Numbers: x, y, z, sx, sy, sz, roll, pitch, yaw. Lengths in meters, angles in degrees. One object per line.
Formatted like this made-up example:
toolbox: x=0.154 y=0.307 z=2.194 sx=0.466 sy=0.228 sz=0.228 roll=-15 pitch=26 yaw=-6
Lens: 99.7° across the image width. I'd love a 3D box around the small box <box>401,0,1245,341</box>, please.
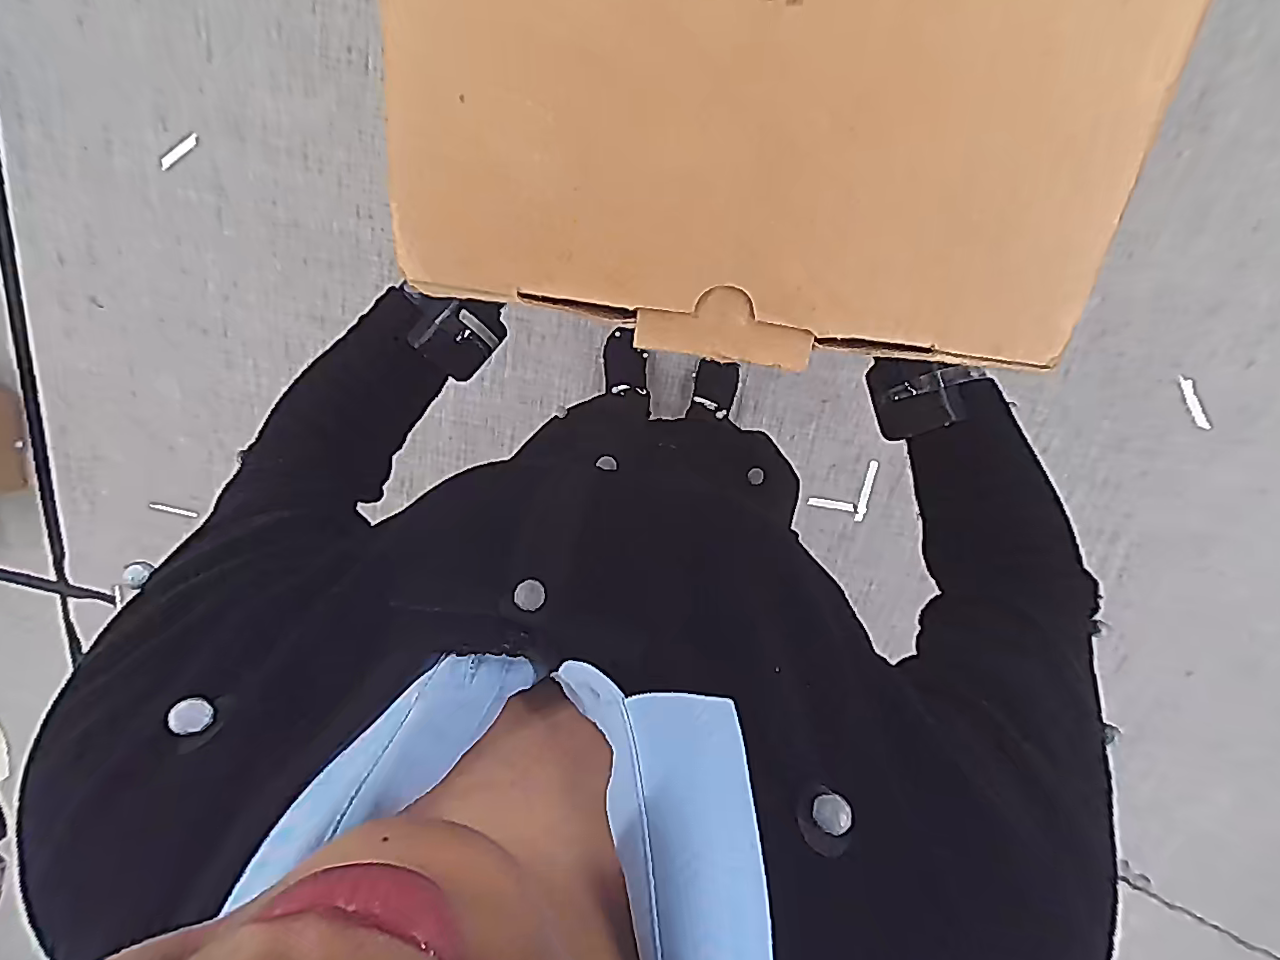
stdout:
small box: x=0.042 y=-0.151 z=0.172 sx=0.168 sy=0.176 sz=0.179 roll=8 pitch=111 yaw=1
